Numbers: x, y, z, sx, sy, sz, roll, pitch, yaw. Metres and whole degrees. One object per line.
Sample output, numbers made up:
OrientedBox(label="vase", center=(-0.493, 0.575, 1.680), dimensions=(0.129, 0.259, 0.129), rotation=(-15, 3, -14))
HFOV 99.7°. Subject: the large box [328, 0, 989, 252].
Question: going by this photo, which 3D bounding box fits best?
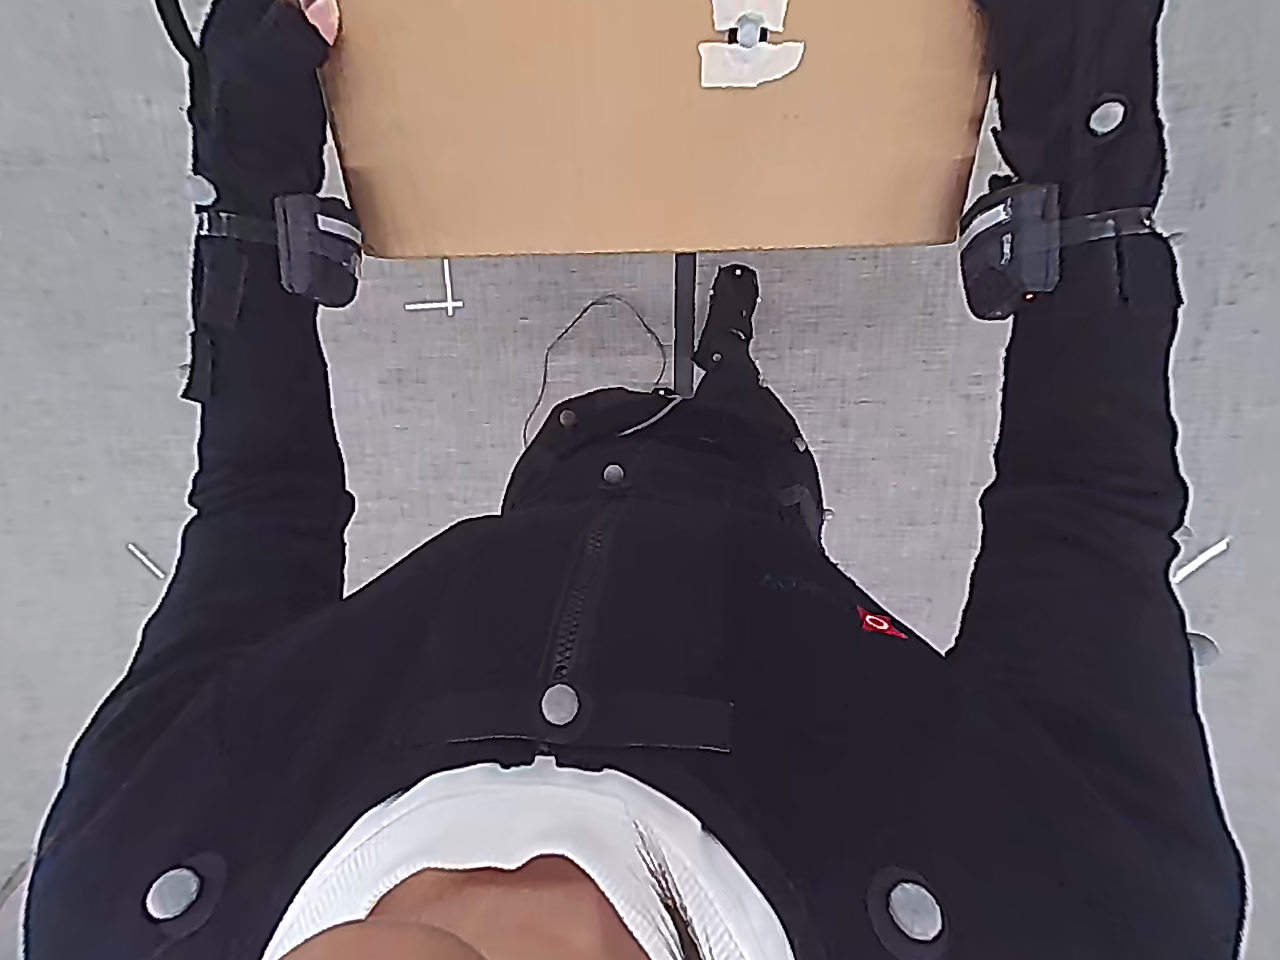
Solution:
OrientedBox(label="large box", center=(0.015, -0.374, 0.446), dimensions=(0.408, 0.320, 0.320), rotation=(1, 117, 7))
